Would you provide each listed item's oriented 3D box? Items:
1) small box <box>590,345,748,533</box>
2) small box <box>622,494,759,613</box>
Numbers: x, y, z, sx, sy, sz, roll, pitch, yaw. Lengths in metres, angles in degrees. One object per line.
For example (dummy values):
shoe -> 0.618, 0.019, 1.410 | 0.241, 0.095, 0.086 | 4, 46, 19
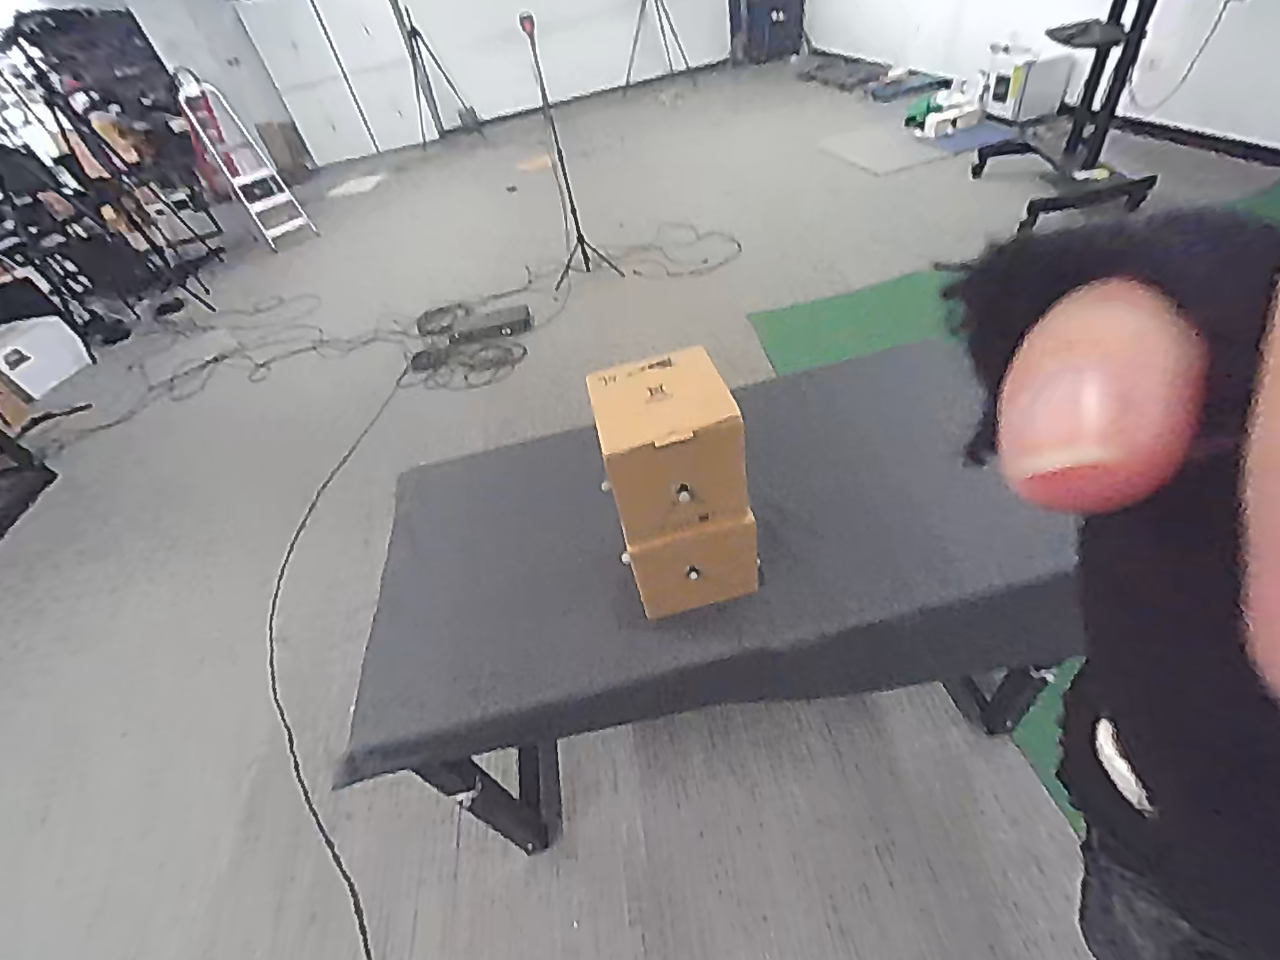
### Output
small box -> 0.040, -0.048, 0.723 | 0.168, 0.176, 0.179 | -15, 44, -1
small box -> 0.072, 0.076, 0.825 | 0.179, 0.176, 0.168 | -15, 43, 0
